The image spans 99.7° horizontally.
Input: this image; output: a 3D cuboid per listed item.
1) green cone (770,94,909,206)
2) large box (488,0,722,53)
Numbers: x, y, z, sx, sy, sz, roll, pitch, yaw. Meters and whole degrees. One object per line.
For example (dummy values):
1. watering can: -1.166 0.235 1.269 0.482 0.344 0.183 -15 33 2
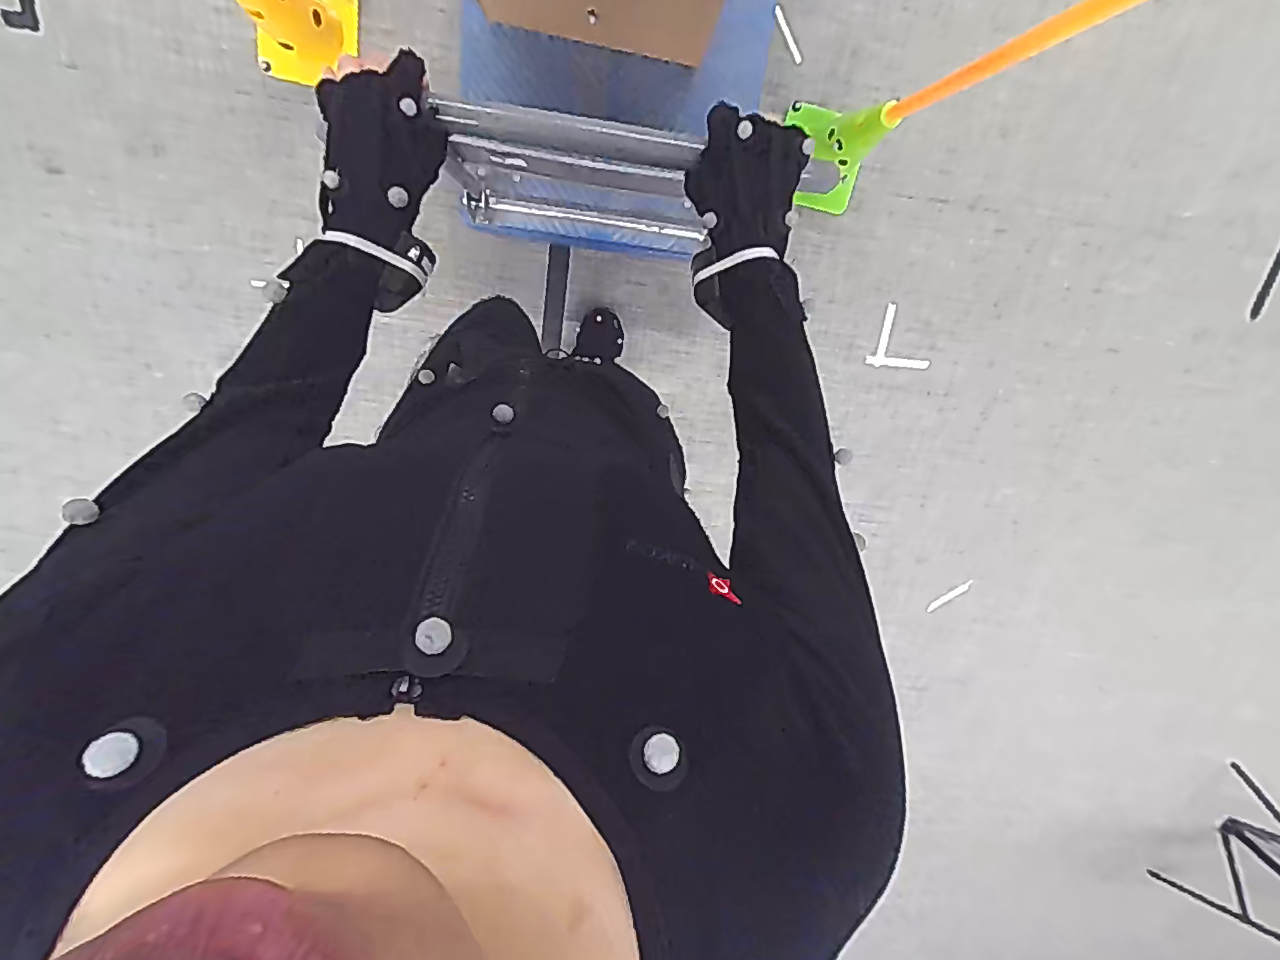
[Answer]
1. green cone: 0.429 -0.703 1.100 0.202 0.368 0.200 10 110 -8
2. large box: -0.051 -0.928 0.837 0.408 0.320 0.320 8 110 -5
